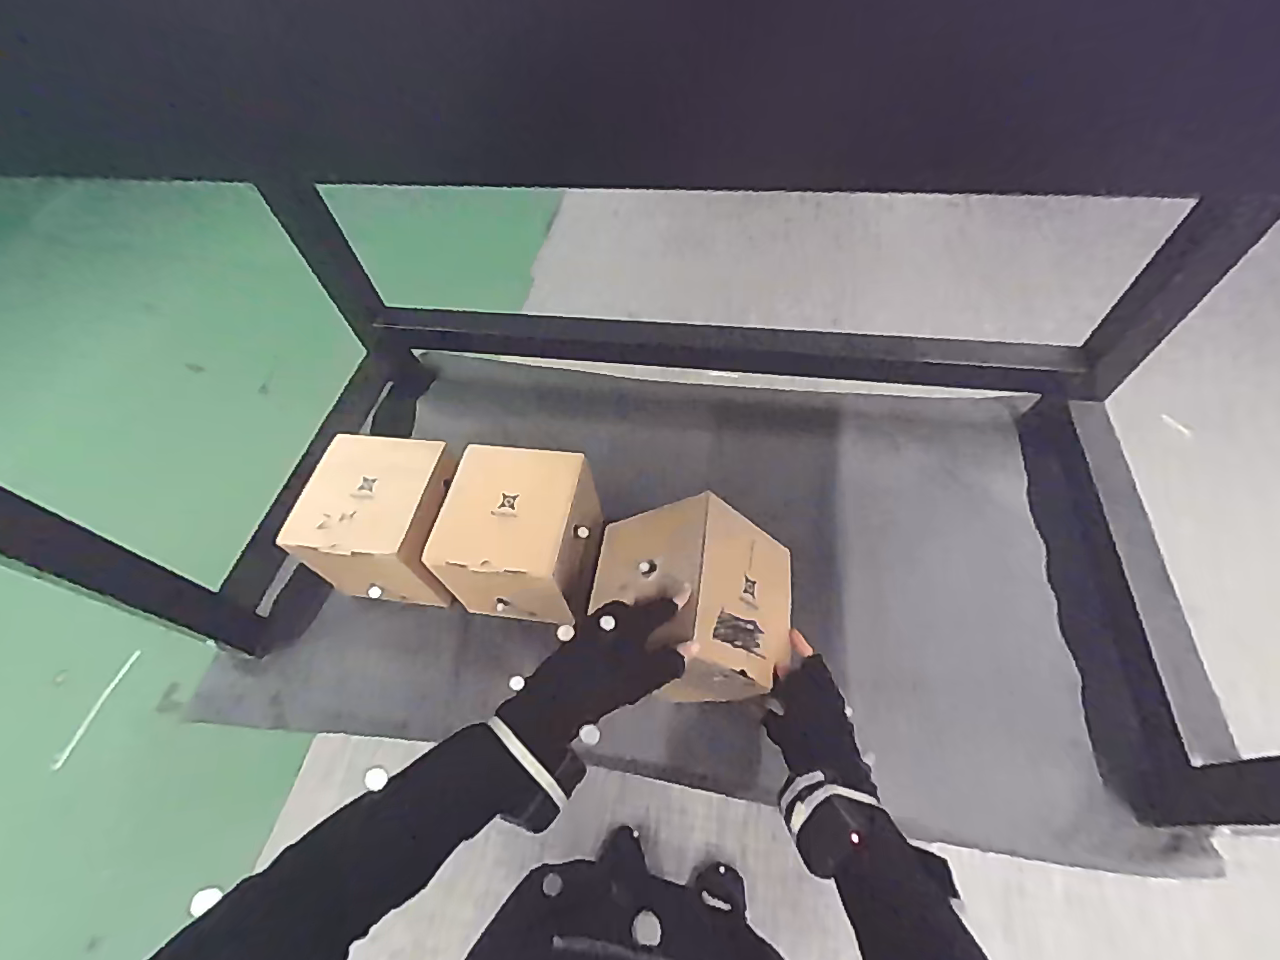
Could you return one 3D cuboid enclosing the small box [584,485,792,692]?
[{"bbox_3d":[0.057,0.137,0.626,0.176,0.168,0.179,-22,46,40],"label":"small box"}]

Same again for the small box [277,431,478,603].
[{"bbox_3d":[-0.348,0.054,0.763,0.168,0.176,0.179,4,57,9],"label":"small box"}]
